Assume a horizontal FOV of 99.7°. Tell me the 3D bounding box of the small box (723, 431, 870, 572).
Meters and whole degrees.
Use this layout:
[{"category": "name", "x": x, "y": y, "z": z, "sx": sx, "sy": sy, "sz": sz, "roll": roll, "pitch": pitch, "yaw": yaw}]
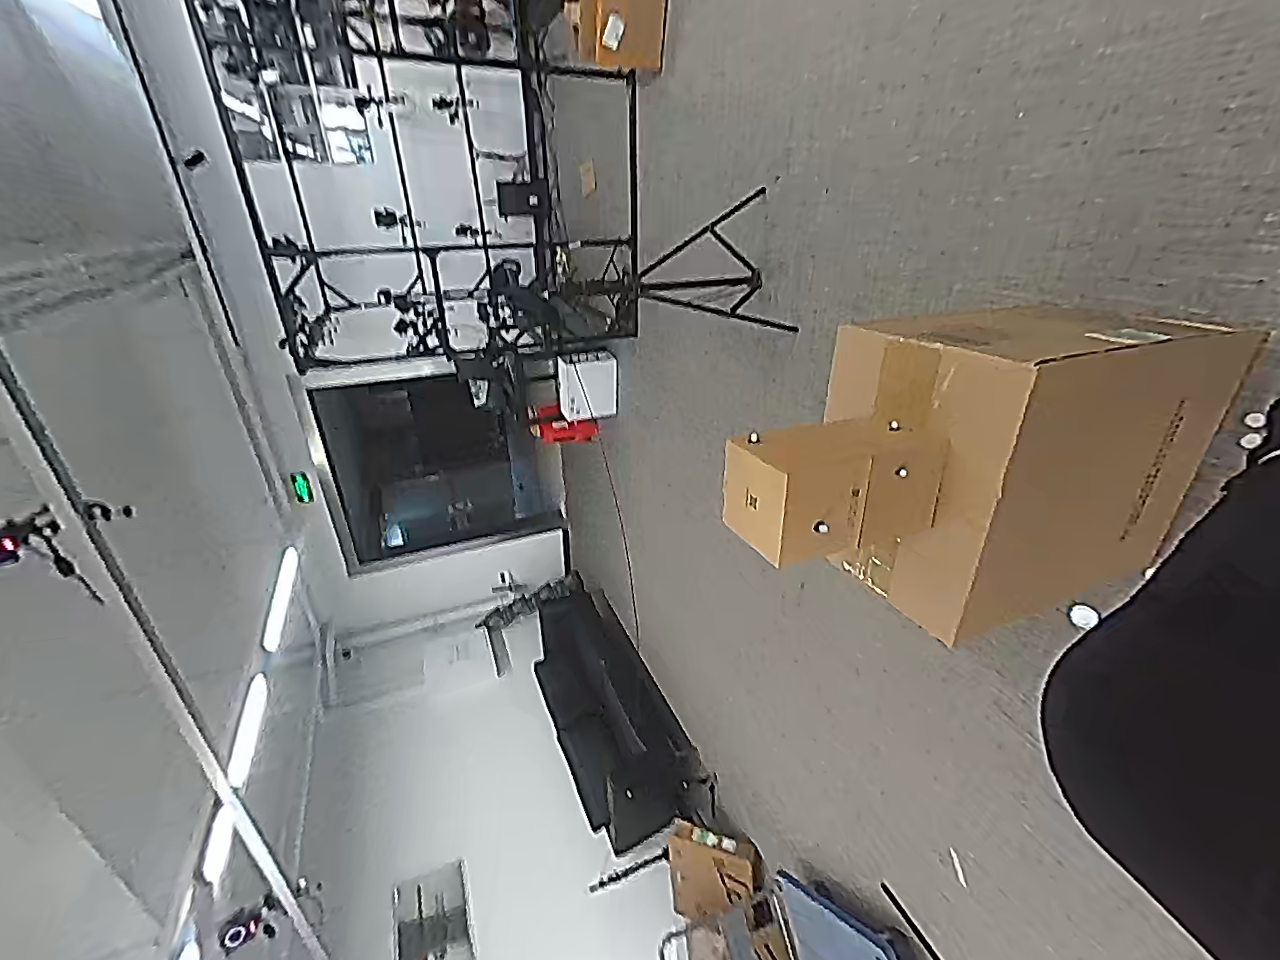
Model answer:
[{"category": "small box", "x": 0.256, "y": 0.025, "z": 0.907, "sx": 0.179, "sy": 0.176, "sz": 0.168, "roll": -136, "pitch": 39, "yaw": -58}]
